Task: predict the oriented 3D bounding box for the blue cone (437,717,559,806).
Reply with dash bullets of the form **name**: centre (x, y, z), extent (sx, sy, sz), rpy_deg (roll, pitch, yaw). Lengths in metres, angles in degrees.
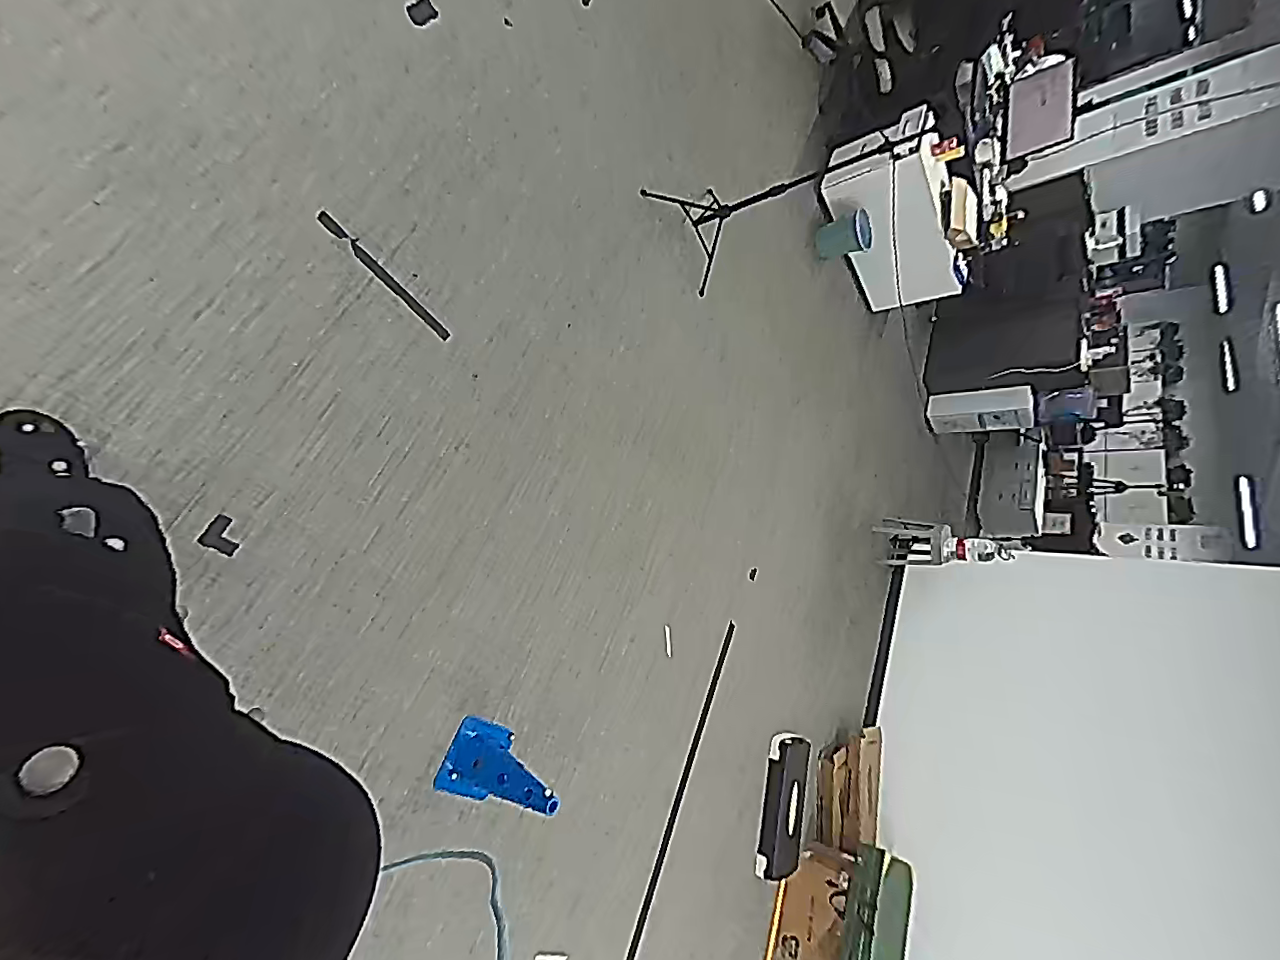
- **blue cone**: centre (-0.353, 0.792, 1.441), extent (0.193, 0.380, 0.192), rpy_deg (45, 57, -37)
